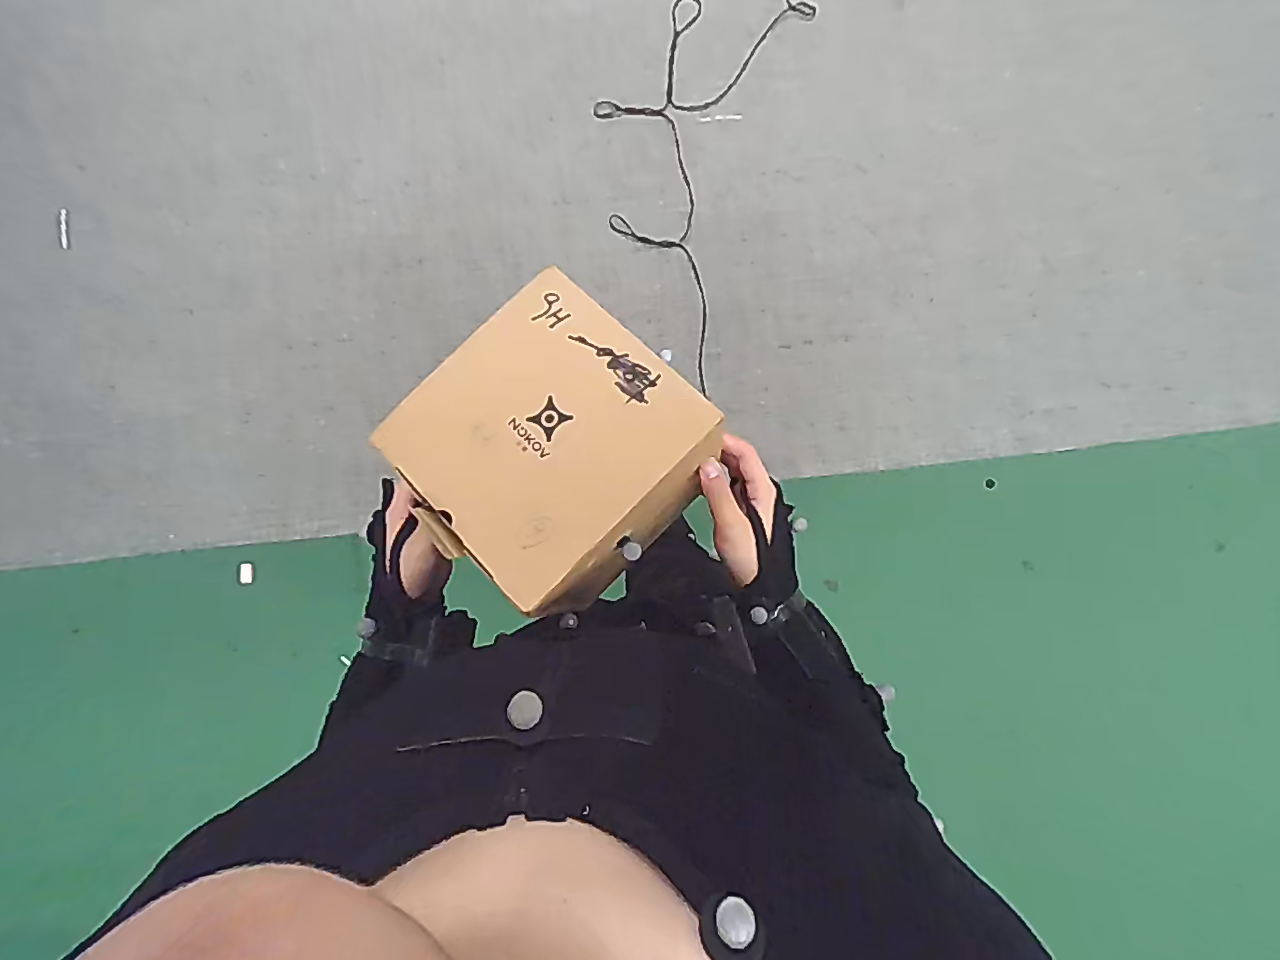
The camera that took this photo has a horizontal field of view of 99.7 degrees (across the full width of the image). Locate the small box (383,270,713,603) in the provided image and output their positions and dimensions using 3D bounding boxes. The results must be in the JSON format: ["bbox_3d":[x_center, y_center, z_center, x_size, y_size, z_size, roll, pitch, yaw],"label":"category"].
[{"bbox_3d":[-0.054,-0.020,0.438,0.168,0.176,0.179,43,87,13],"label":"small box"}]
